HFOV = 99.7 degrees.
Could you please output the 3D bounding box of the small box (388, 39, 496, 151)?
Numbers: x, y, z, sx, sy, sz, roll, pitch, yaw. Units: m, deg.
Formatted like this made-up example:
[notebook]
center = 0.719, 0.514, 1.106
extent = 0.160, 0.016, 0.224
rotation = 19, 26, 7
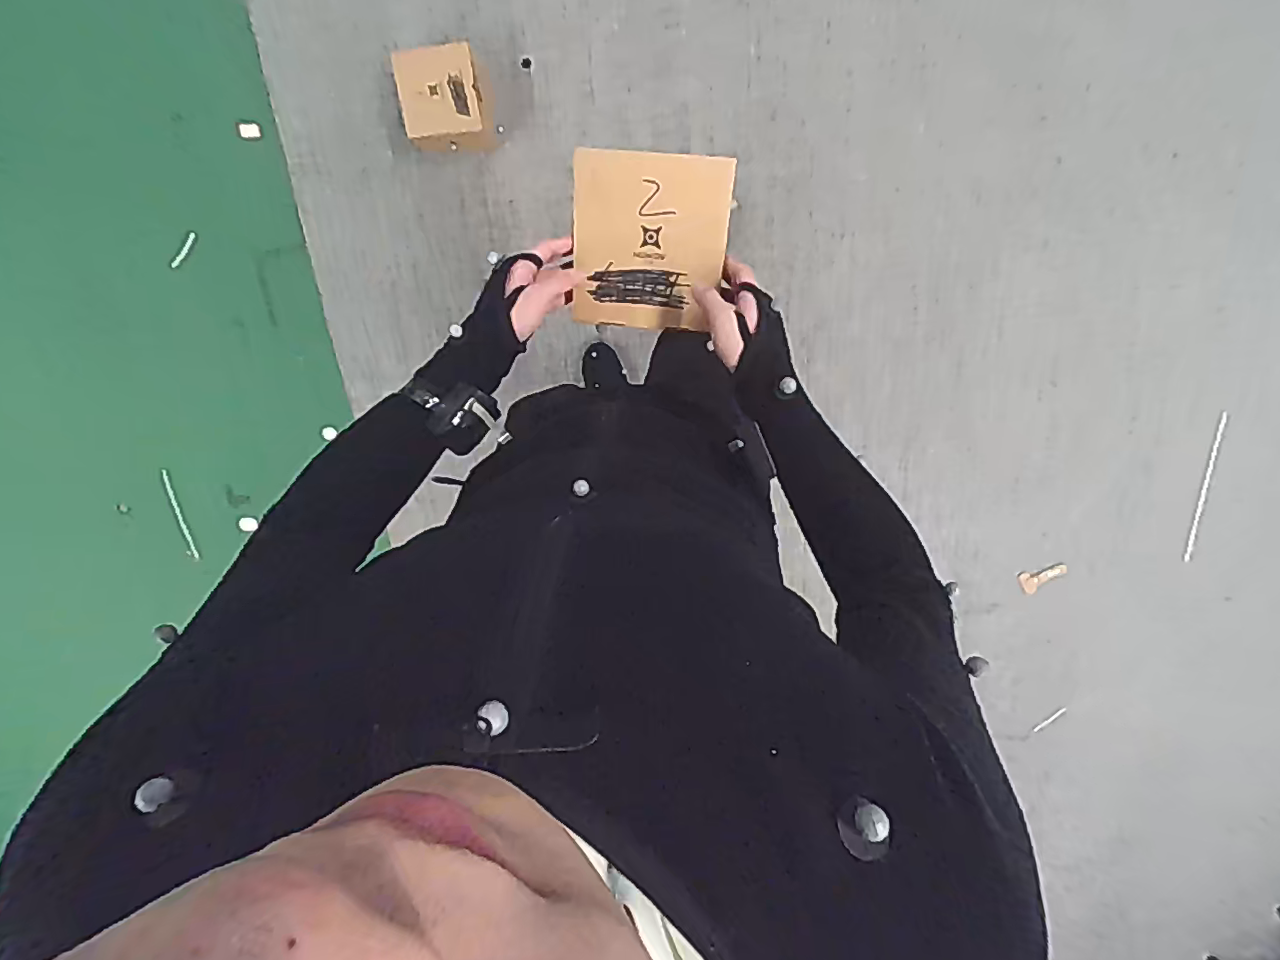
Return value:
[small box]
center = -0.439, -0.871, 1.237
extent = 0.179, 0.176, 0.168
rotation = -4, 109, 4
